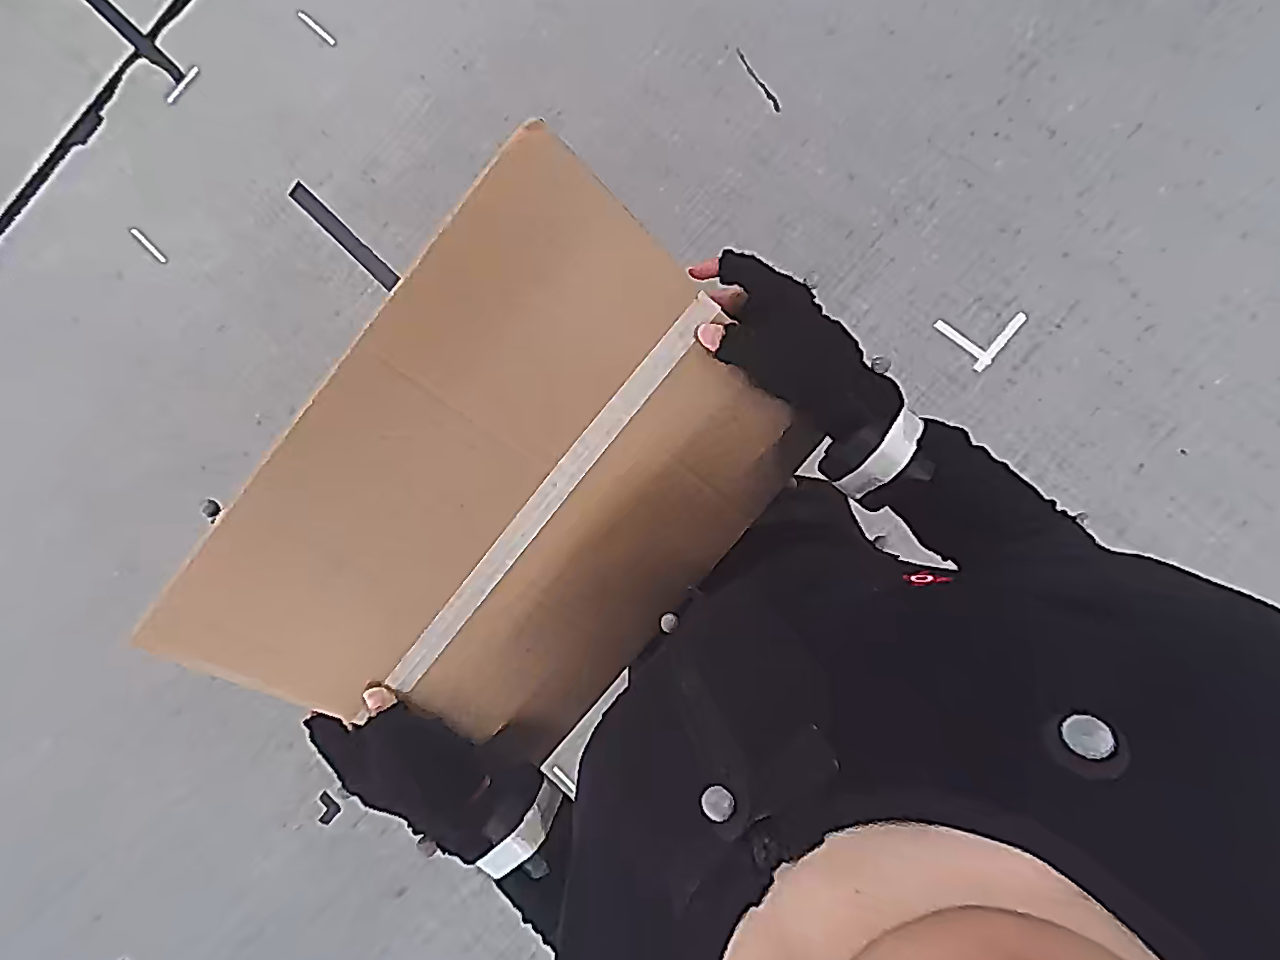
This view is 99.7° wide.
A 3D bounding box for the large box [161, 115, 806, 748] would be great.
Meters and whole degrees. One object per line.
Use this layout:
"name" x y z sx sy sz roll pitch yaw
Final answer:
"large box" -0.134 -0.037 0.537 0.320 0.320 0.408 37 96 -29
